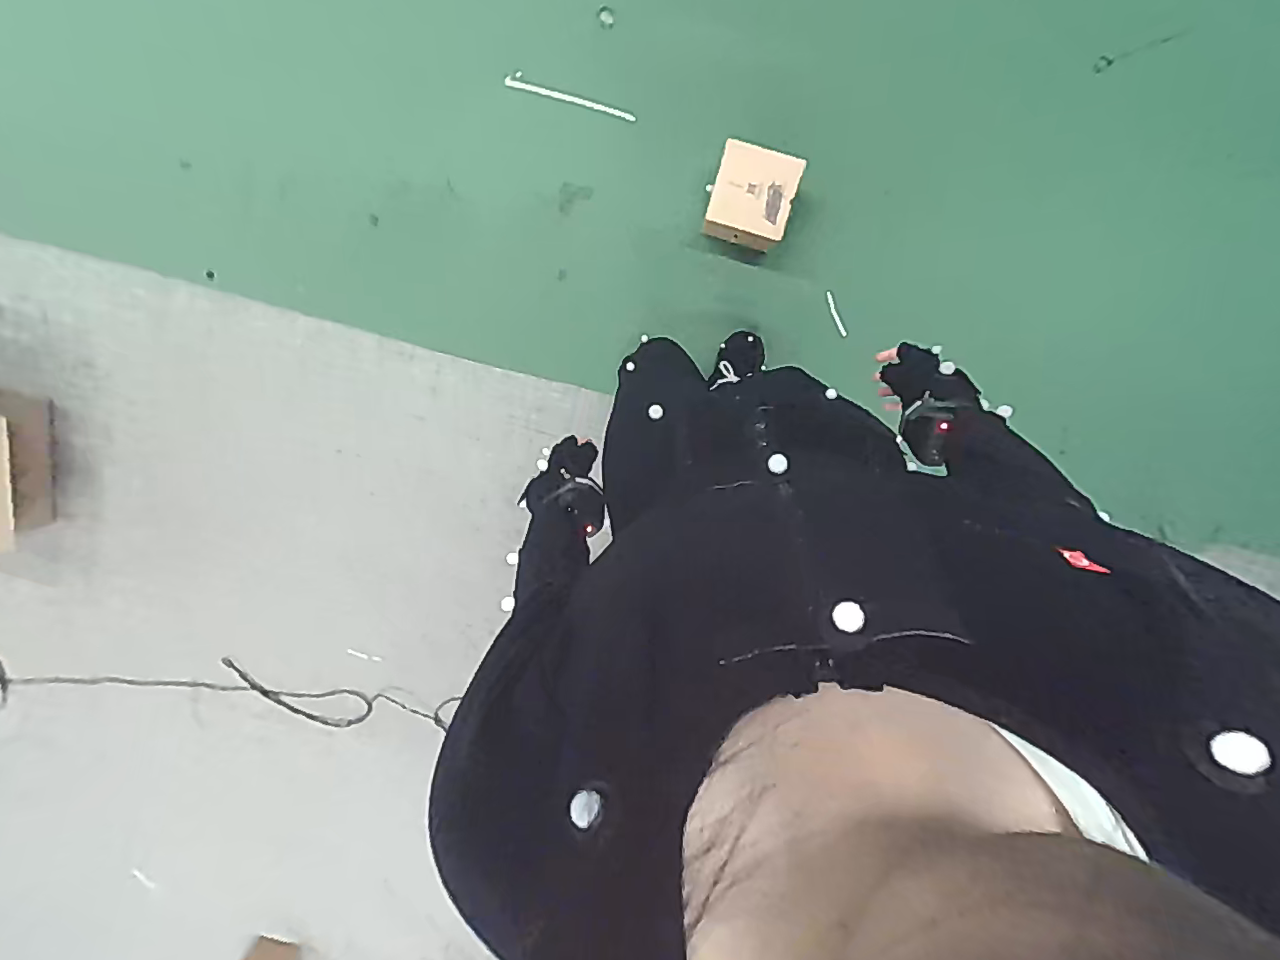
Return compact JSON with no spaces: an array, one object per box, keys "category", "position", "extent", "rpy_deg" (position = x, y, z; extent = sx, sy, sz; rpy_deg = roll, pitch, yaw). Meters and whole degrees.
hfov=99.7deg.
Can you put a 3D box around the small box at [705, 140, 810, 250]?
[{"category":"small box","position":[0.257,-0.633,1.224],"extent":[0.179,0.176,0.168],"rpy_deg":[17,106,-1]}]

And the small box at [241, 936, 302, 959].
[{"category":"small box","position":[-1.399,1.846,2.005],"extent":[0.179,0.176,0.168],"rpy_deg":[13,105,-1]}]
